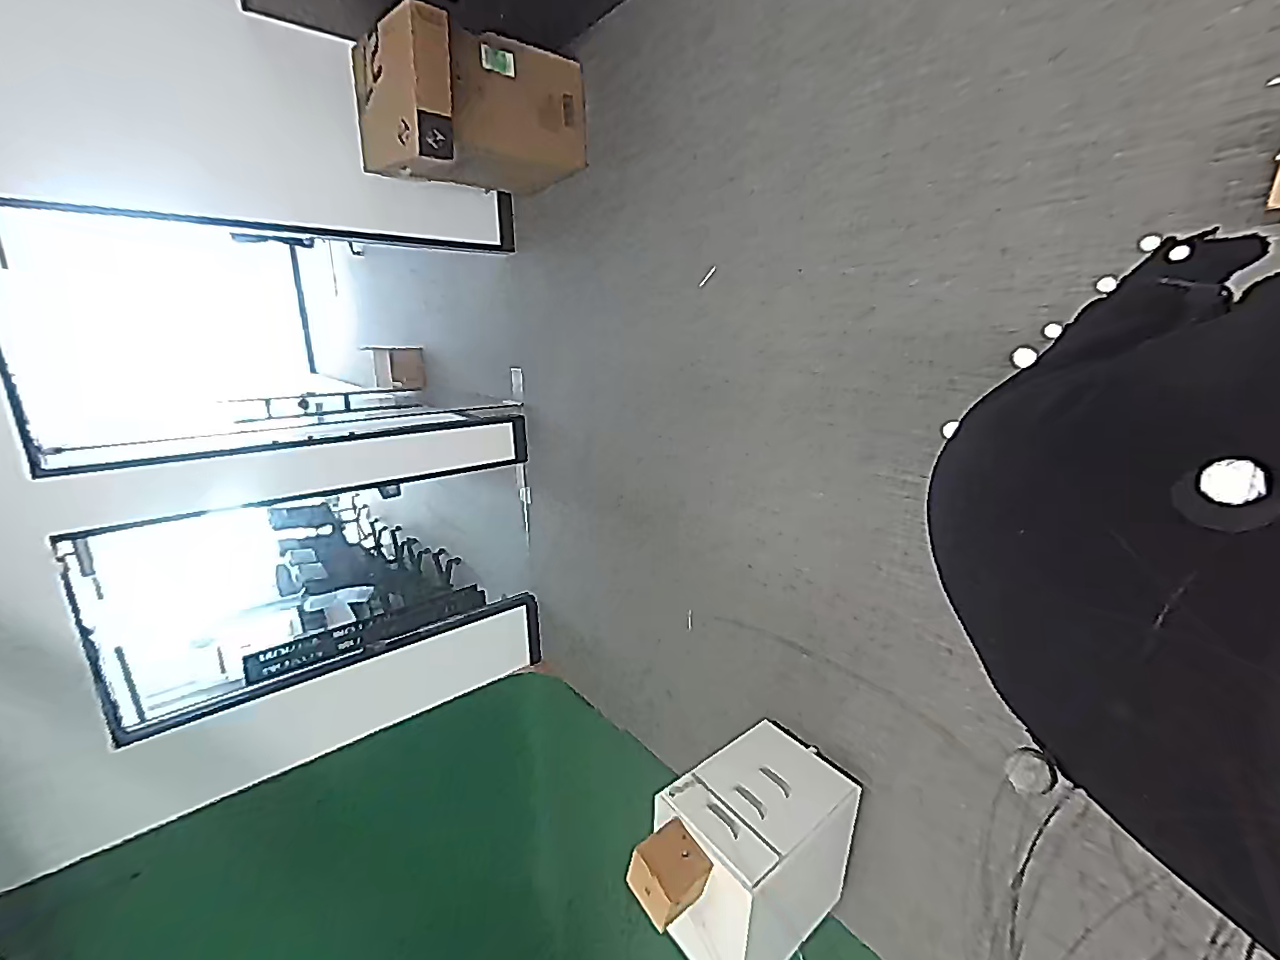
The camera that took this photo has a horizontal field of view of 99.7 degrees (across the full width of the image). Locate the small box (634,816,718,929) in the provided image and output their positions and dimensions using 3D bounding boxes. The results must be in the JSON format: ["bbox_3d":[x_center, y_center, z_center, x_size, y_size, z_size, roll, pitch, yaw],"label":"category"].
[{"bbox_3d":[0.107,1.136,1.576,0.168,0.176,0.179,36,128,41],"label":"small box"}]
